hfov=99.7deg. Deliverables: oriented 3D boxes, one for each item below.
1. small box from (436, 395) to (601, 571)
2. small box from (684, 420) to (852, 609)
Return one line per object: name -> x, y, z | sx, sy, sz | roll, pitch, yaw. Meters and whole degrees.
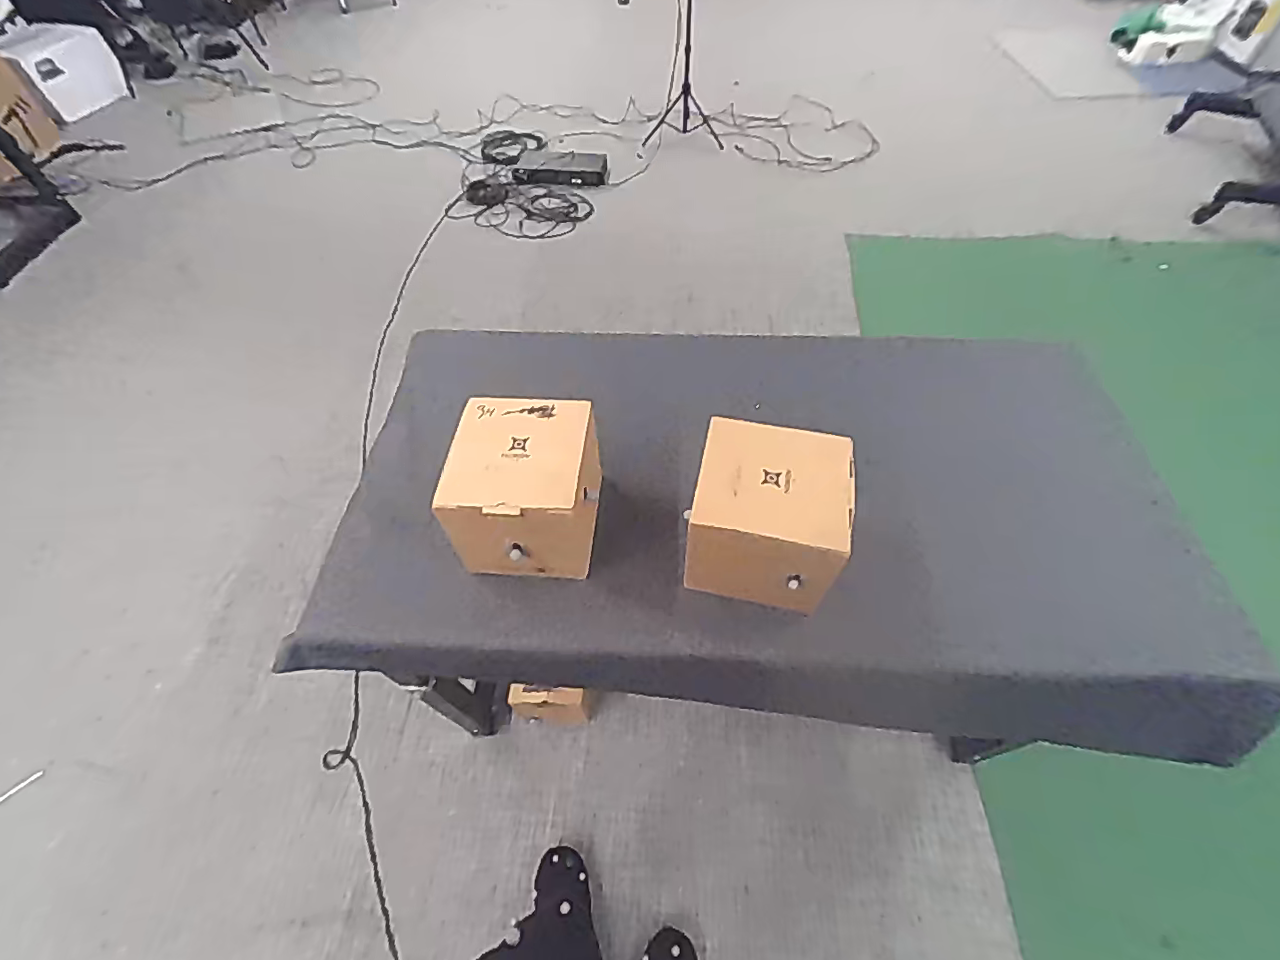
small box -> -0.146, 0.008, 0.730 | 0.168, 0.176, 0.179 | 4, 55, 3
small box -> 0.159, 0.049, 0.698 | 0.179, 0.176, 0.168 | 10, 55, 10
